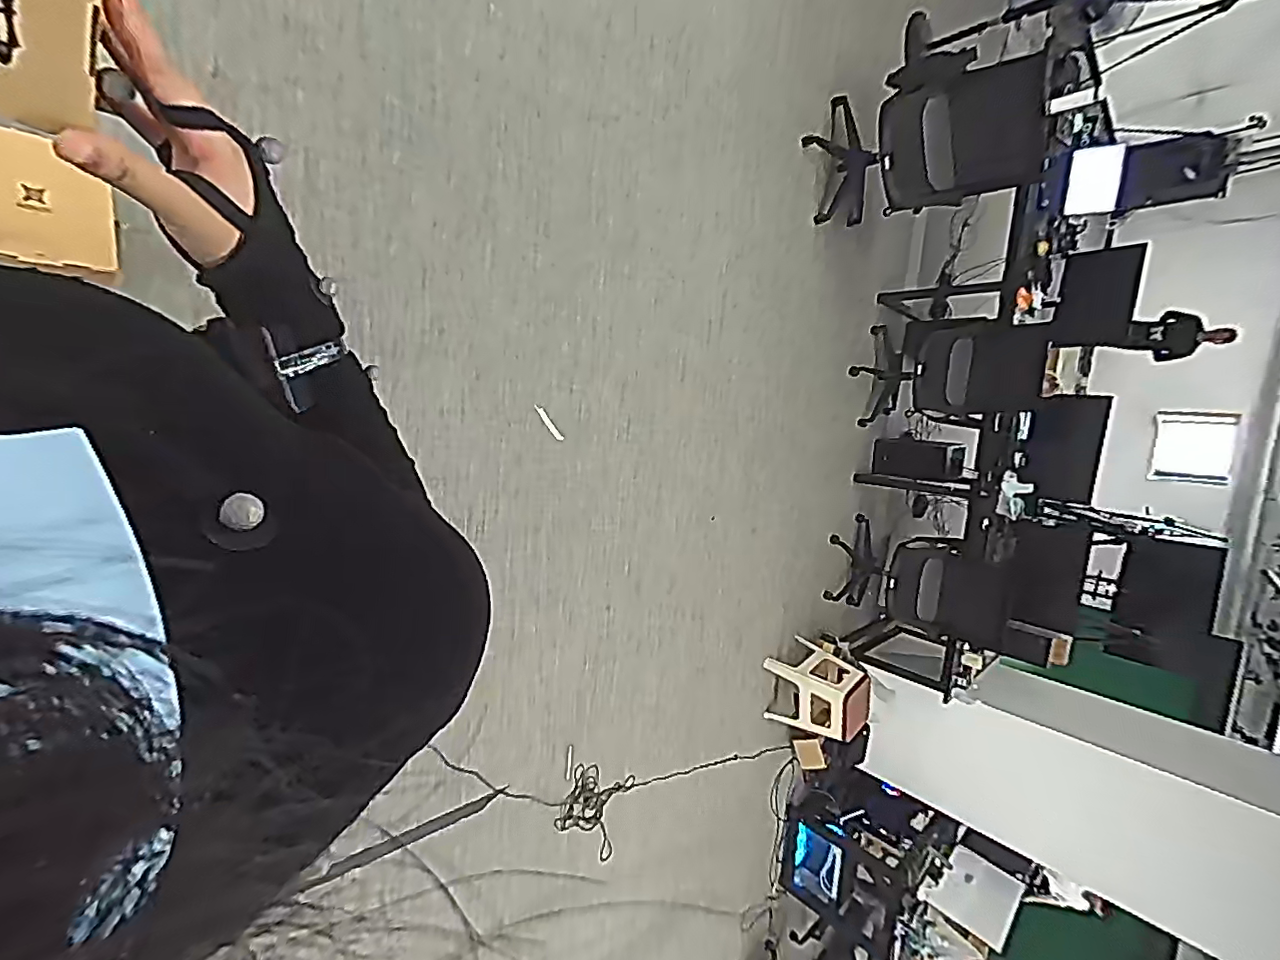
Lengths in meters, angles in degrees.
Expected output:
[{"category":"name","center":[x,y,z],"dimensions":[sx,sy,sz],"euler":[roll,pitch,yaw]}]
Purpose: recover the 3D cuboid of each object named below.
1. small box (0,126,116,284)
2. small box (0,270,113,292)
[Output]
[{"category":"small box","center":[-0.922,-0.411,0.824],"dimensions":[0.168,0.176,0.179],"euler":[-5,102,-44]},{"category":"small box","center":[-1.036,-0.432,0.938],"dimensions":[0.168,0.176,0.179],"euler":[-7,102,-44]}]
